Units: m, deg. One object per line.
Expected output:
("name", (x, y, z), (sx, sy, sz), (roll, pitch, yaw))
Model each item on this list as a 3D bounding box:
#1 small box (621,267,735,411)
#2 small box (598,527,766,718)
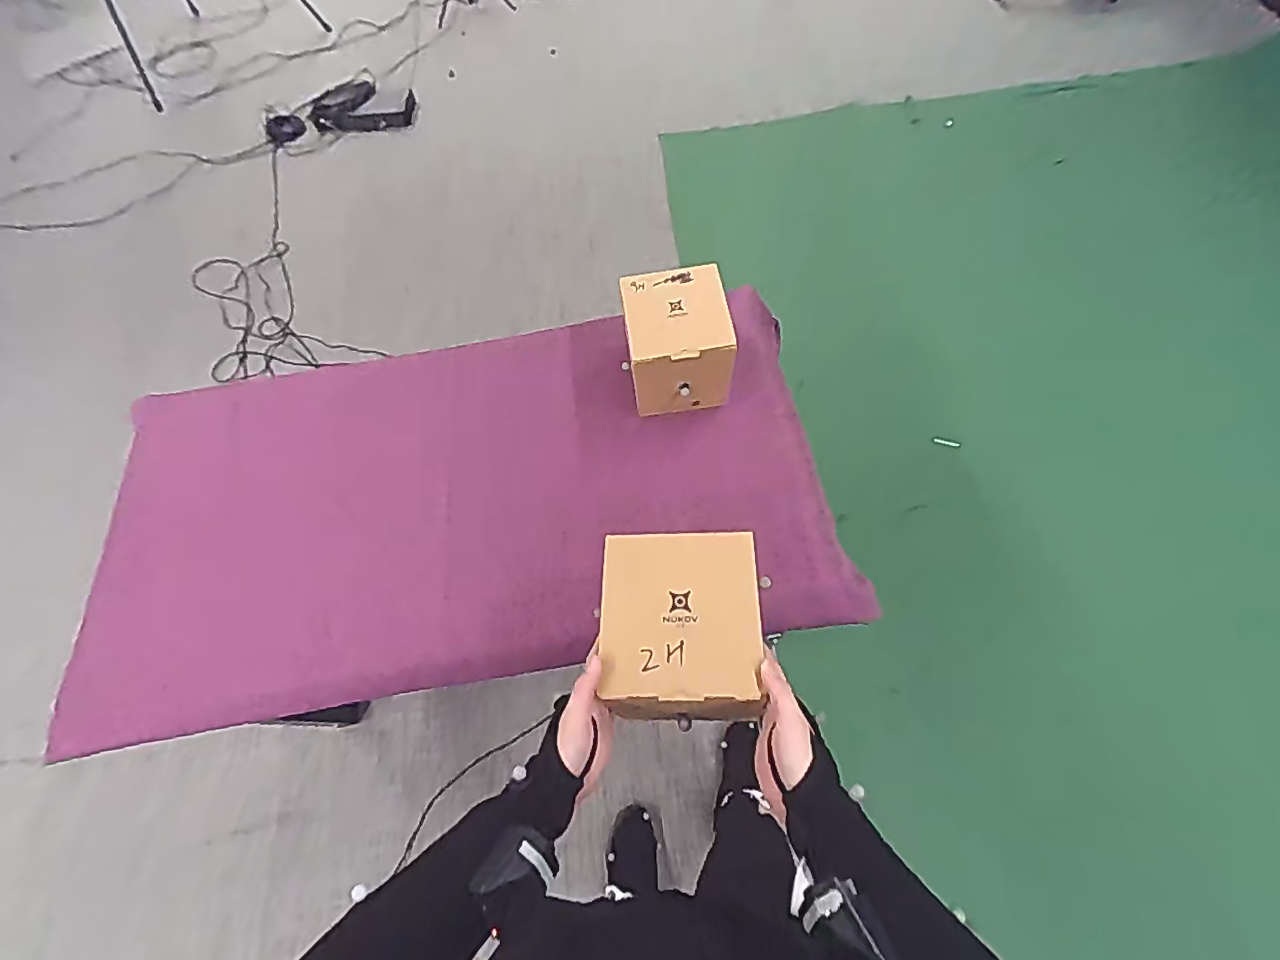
("small box", (0.065, -0.233, 0.939), (0.168, 0.176, 0.179), (-8, 66, 0))
("small box", (0.051, 0.170, 0.631), (0.168, 0.176, 0.179), (-2, 59, 7))
